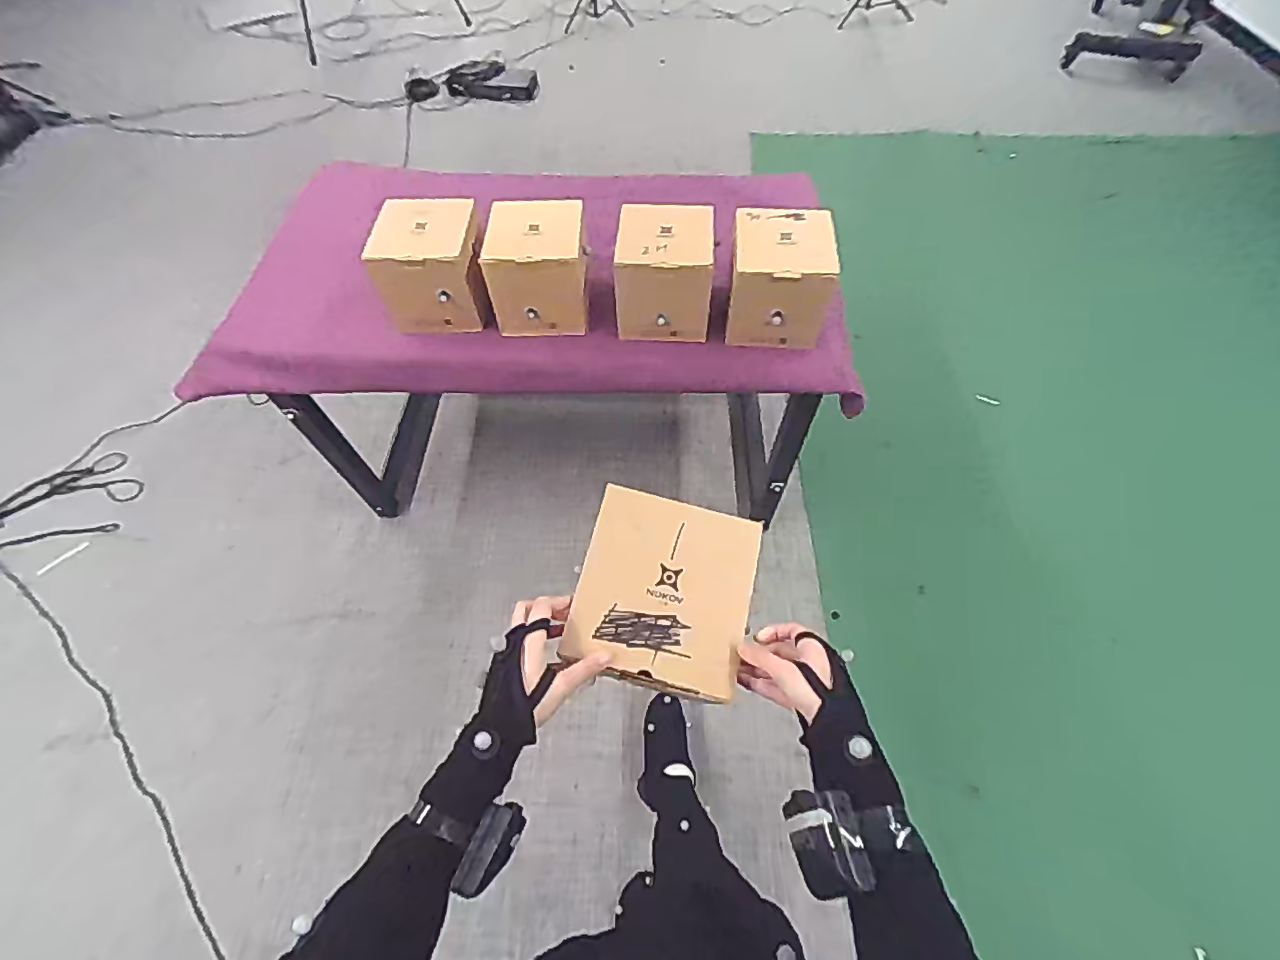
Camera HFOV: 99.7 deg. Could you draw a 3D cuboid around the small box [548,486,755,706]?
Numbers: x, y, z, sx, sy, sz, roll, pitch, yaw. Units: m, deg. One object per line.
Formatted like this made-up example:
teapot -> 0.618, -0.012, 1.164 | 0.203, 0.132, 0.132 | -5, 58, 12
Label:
small box -> 0.013, 0.133, 0.587 | 0.168, 0.176, 0.179 | 15, 67, 2
